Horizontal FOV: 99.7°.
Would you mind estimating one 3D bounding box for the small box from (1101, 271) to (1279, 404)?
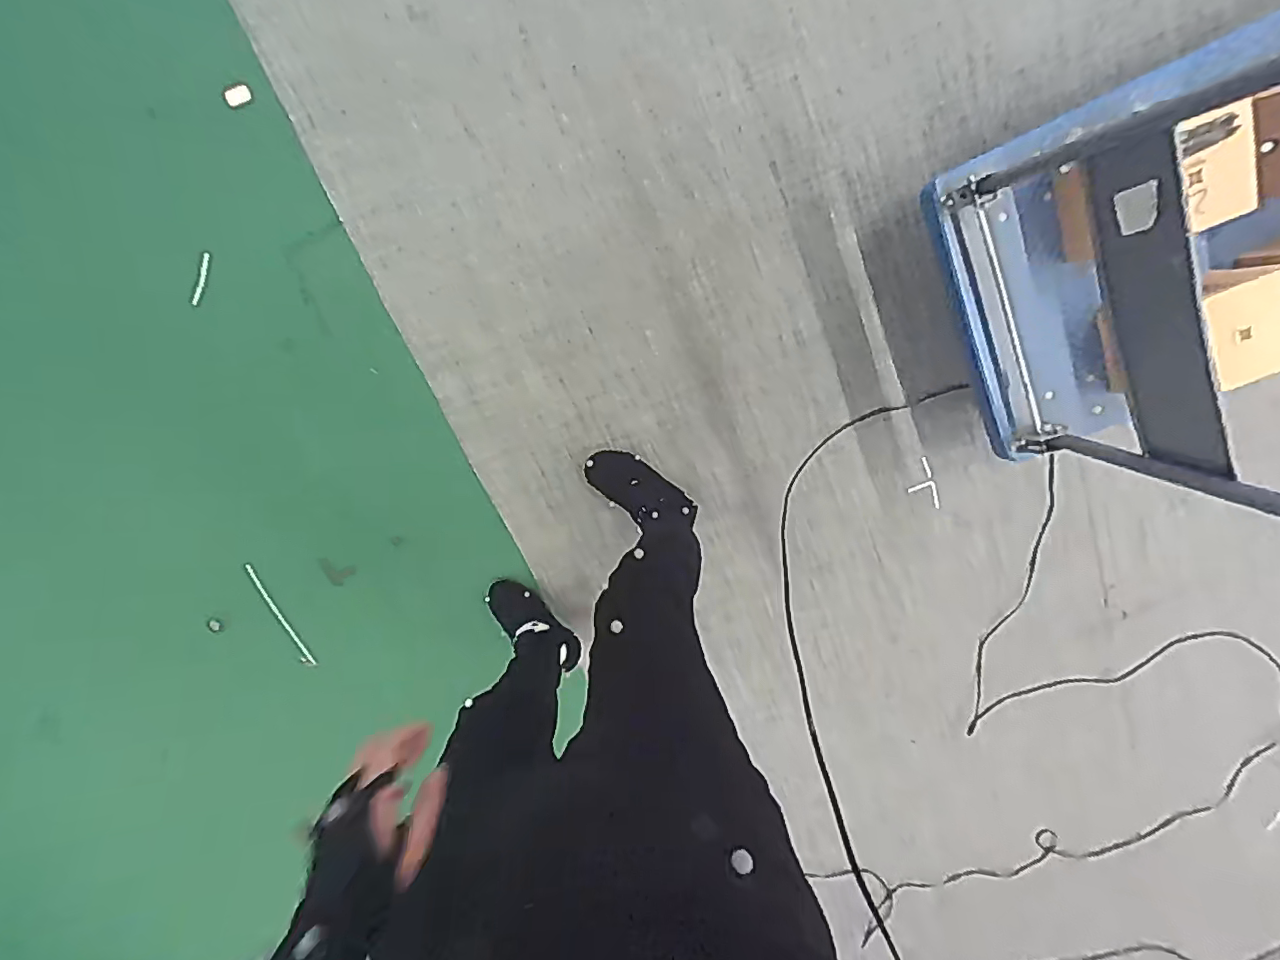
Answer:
[{"bbox_3d":[0.963,-0.250,0.937,0.179,0.176,0.168,-22,105,7],"label":"small box"}]

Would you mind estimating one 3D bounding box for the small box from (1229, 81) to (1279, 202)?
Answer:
[{"bbox_3d":[1.085,-0.563,0.840,0.179,0.176,0.168,-27,105,8],"label":"small box"}]

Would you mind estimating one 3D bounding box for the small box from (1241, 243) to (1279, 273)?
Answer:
[{"bbox_3d":[1.192,-0.340,0.905,0.179,0.176,0.168,-25,104,8],"label":"small box"}]
